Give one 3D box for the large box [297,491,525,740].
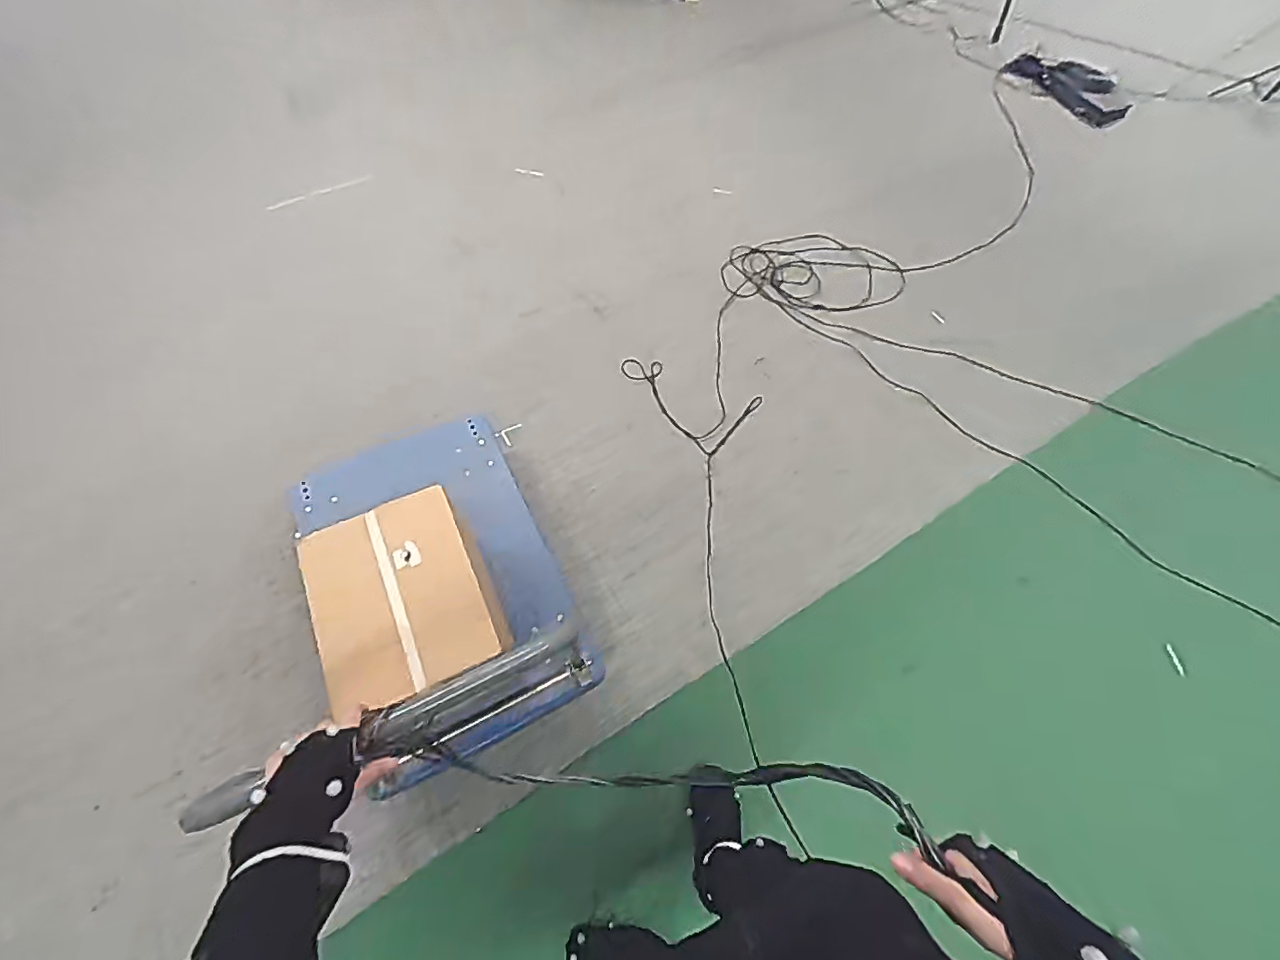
[{"bbox_3d":[-0.492,0.307,1.207,0.320,0.320,0.408,-23,65,-14],"label":"large box"}]
